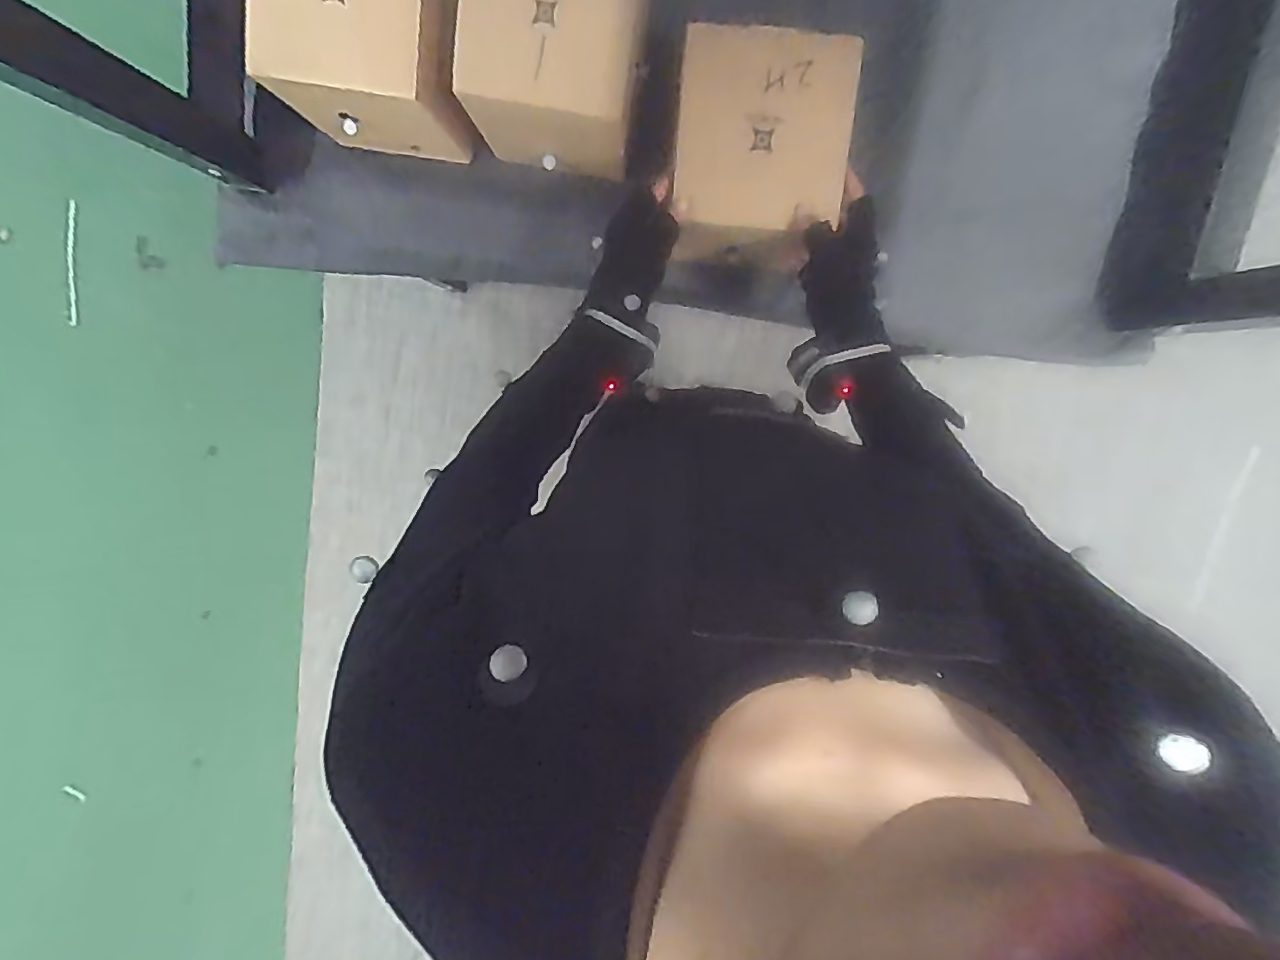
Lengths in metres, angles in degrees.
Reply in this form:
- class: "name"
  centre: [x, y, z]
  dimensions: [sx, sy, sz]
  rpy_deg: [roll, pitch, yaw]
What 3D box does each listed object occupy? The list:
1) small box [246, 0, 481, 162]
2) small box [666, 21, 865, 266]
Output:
- class: "small box"
  centre: [-0.278, -0.470, 0.577]
  dimensions: [0.168, 0.176, 0.179]
  rpy_deg: [8, 100, -1]
- class: "small box"
  centre: [0.119, -0.344, 0.590]
  dimensions: [0.168, 0.176, 0.179]
  rpy_deg: [5, 100, -1]
